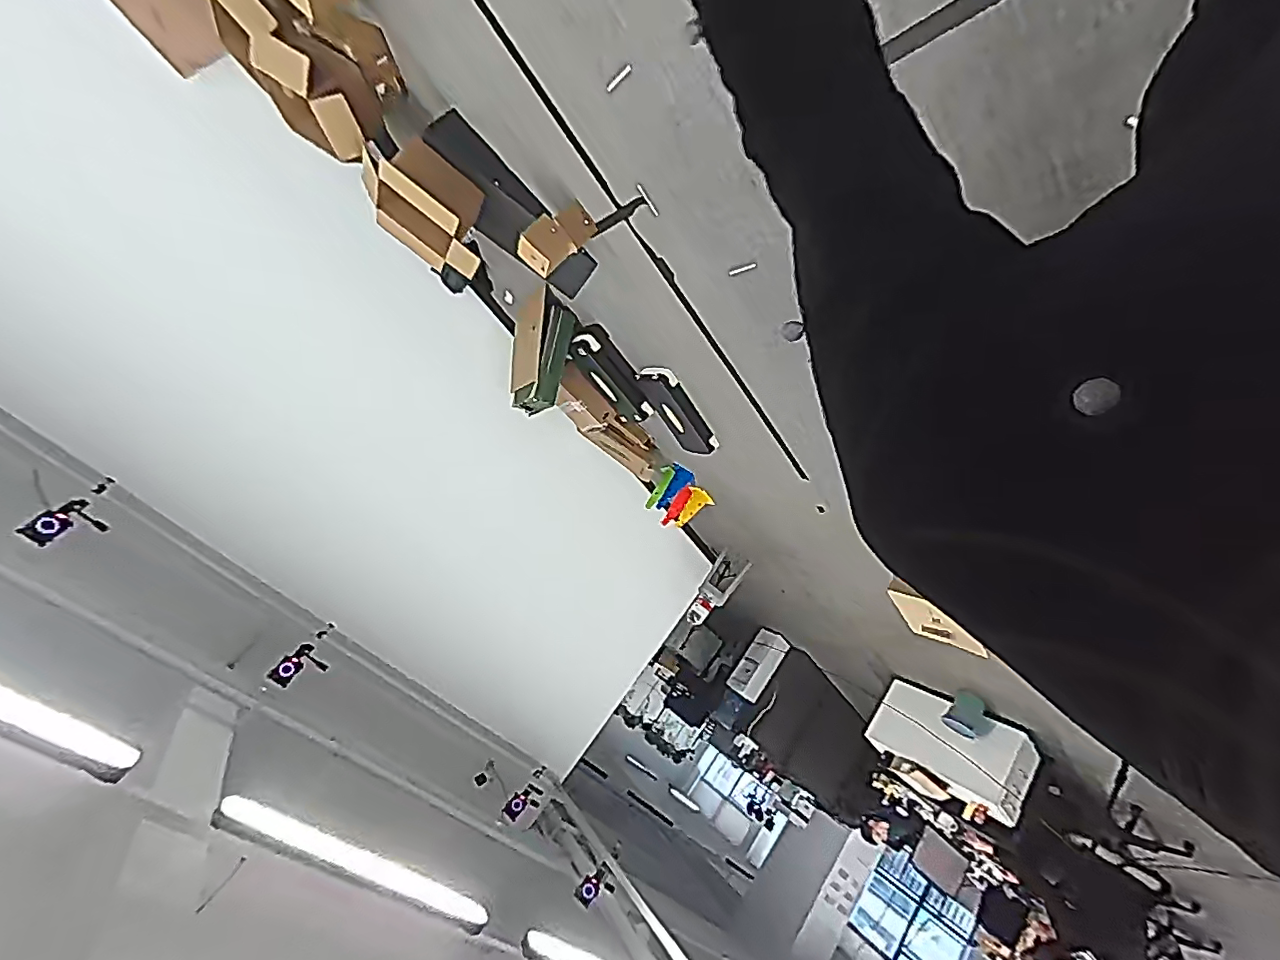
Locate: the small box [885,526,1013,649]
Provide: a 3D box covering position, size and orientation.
[{"bbox_3d":[0.672,0.226,1.168,0.179,0.176,0.168,50,159,-28],"label":"small box"}]
